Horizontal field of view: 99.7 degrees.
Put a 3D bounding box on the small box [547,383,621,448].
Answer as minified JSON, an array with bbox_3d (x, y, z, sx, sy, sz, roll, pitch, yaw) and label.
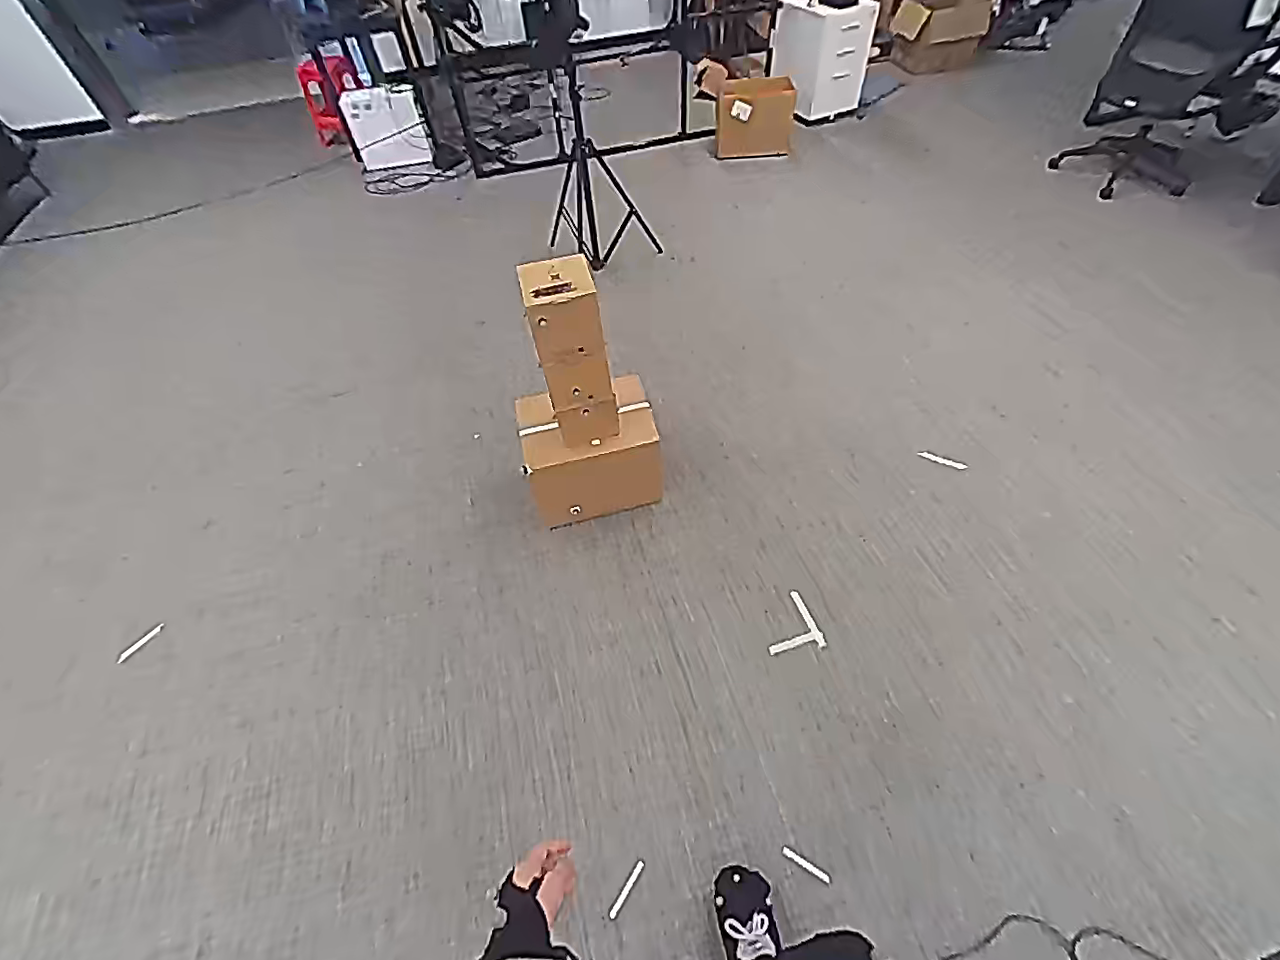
[{"bbox_3d":[-0.162,-0.217,1.588,0.179,0.176,0.168,-15,53,-8],"label":"small box"}]

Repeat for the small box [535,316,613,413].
[{"bbox_3d":[-0.175,-0.309,1.455,0.168,0.176,0.179,-15,54,-7],"label":"small box"}]
